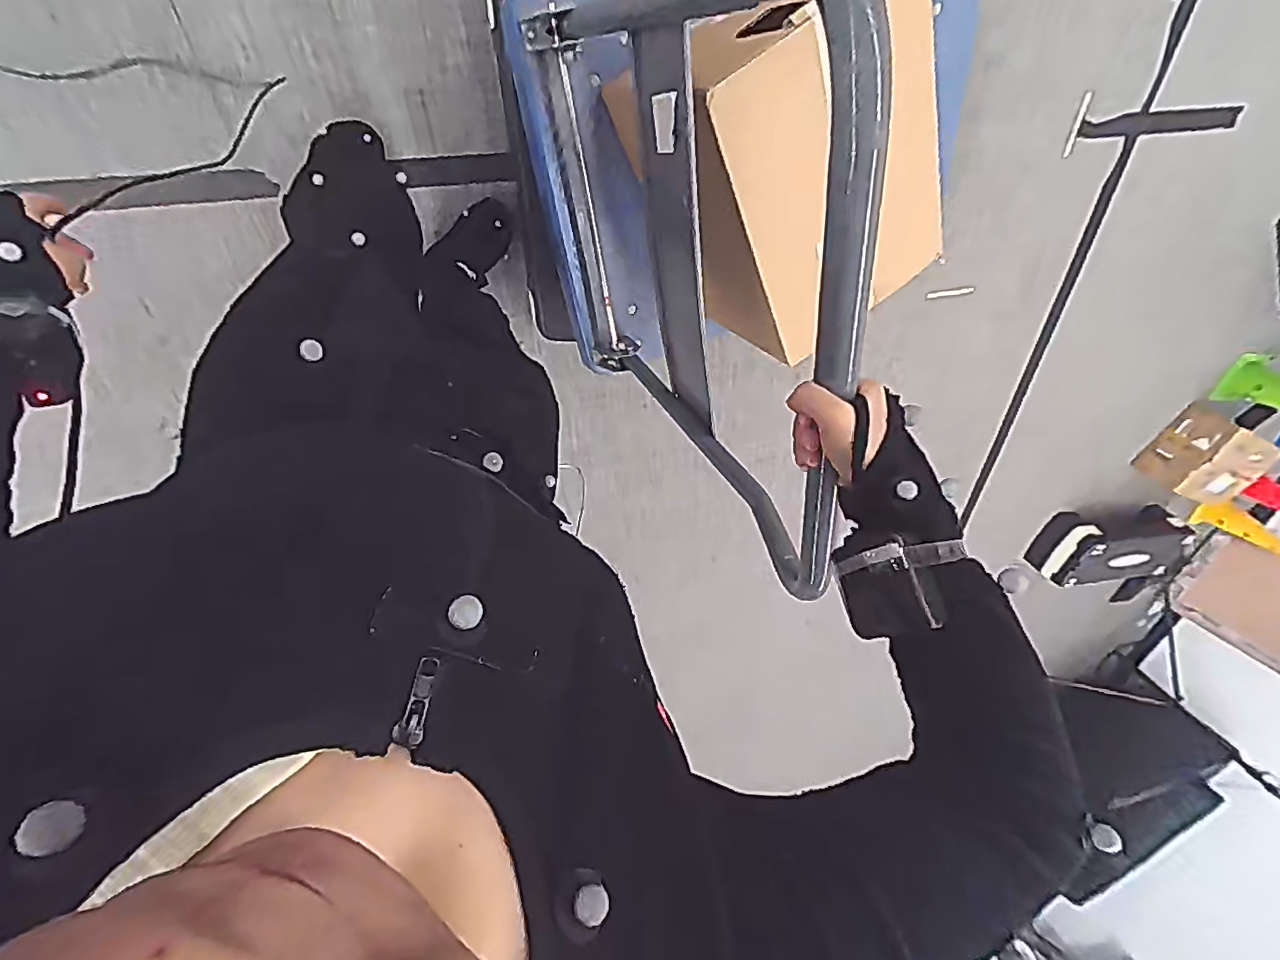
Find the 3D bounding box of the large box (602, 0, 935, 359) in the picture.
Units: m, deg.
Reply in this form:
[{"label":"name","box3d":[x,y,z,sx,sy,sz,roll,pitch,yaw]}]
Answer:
[{"label":"large box","box3d":[0.205,-0.476,0.837,0.320,0.320,0.408,-36,134,-1]}]
